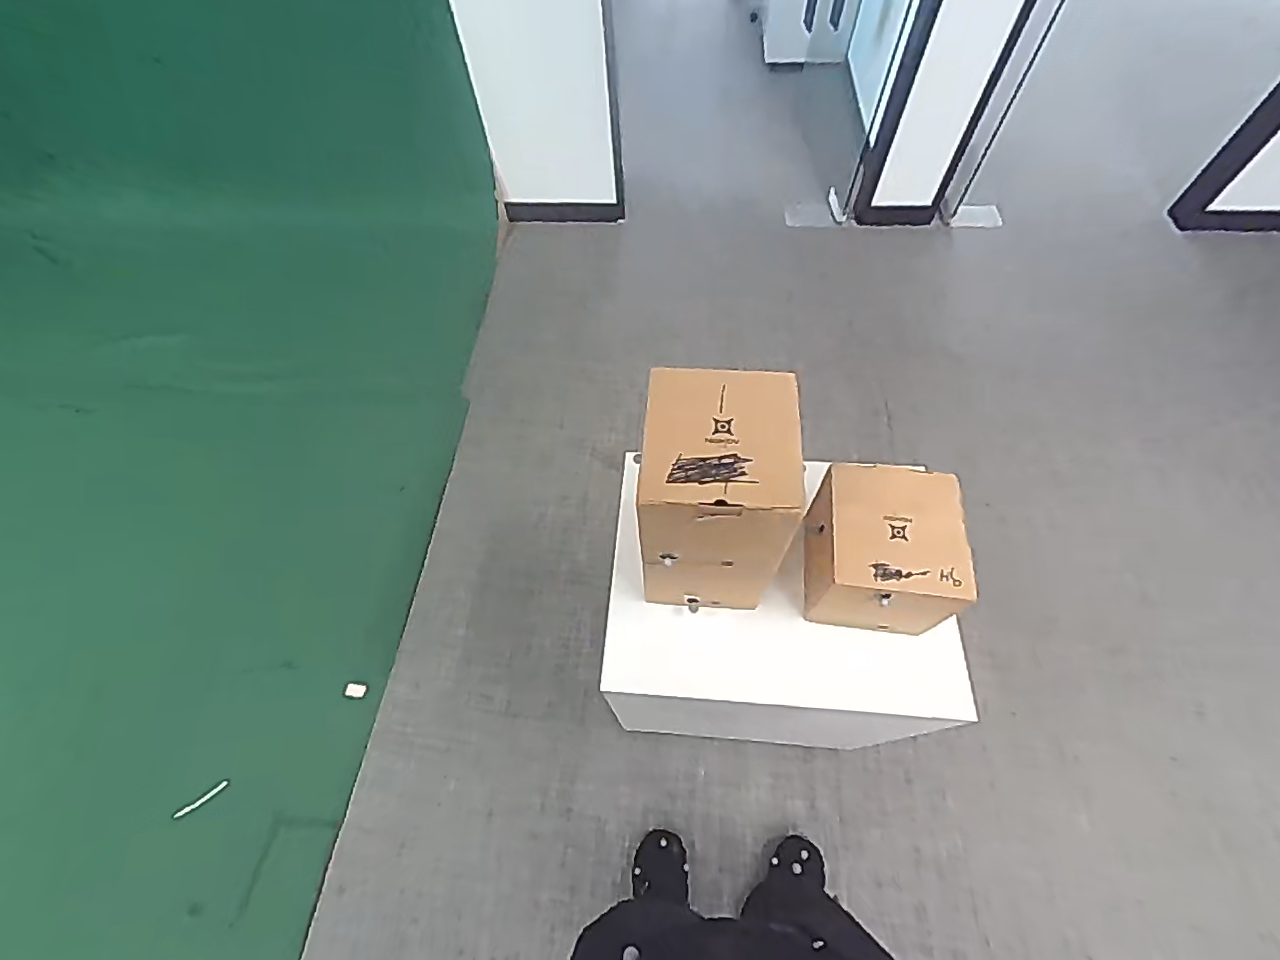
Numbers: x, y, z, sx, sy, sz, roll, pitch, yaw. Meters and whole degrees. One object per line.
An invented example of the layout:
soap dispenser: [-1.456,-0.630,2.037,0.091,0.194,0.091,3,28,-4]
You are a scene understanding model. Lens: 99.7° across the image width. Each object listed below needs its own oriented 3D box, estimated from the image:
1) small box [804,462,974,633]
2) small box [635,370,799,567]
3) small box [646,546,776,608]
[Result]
small box: [0.331,0.098,0.758,0.168,0.176,0.179,6,60,7]
small box: [0.089,-0.008,0.644,0.168,0.176,0.179,3,60,5]
small box: [0.097,0.074,0.786,0.168,0.176,0.179,1,62,5]
